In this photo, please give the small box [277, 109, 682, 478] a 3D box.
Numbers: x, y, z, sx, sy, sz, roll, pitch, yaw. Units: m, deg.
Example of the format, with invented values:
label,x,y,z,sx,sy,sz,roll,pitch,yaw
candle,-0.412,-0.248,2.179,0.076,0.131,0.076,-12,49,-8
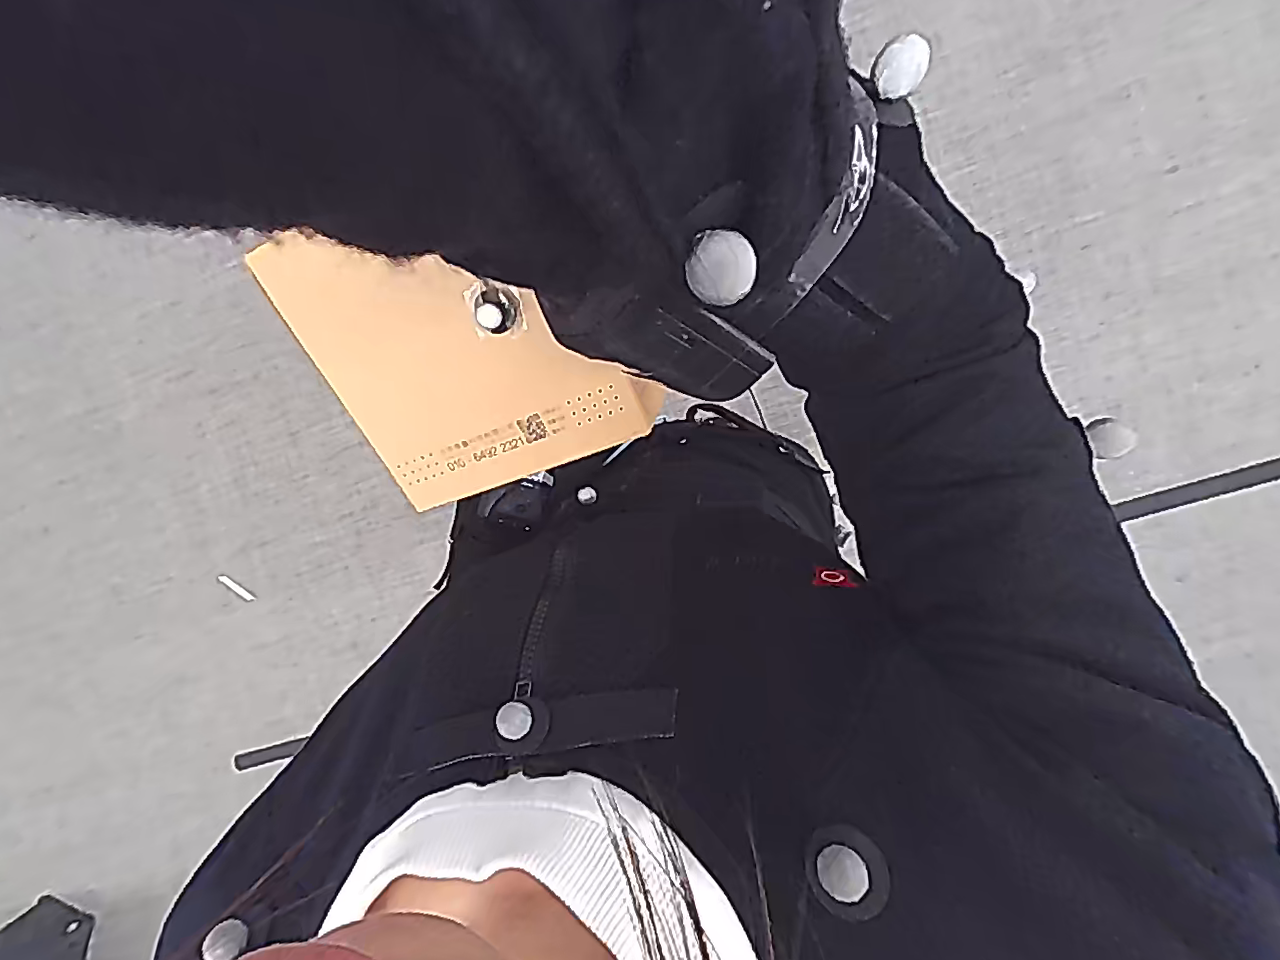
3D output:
label,x,y,z,sx,sy,sz,roll,pitch,yaw
small box,-0.081,-0.116,0.372,0.168,0.179,0.176,-16,114,21
